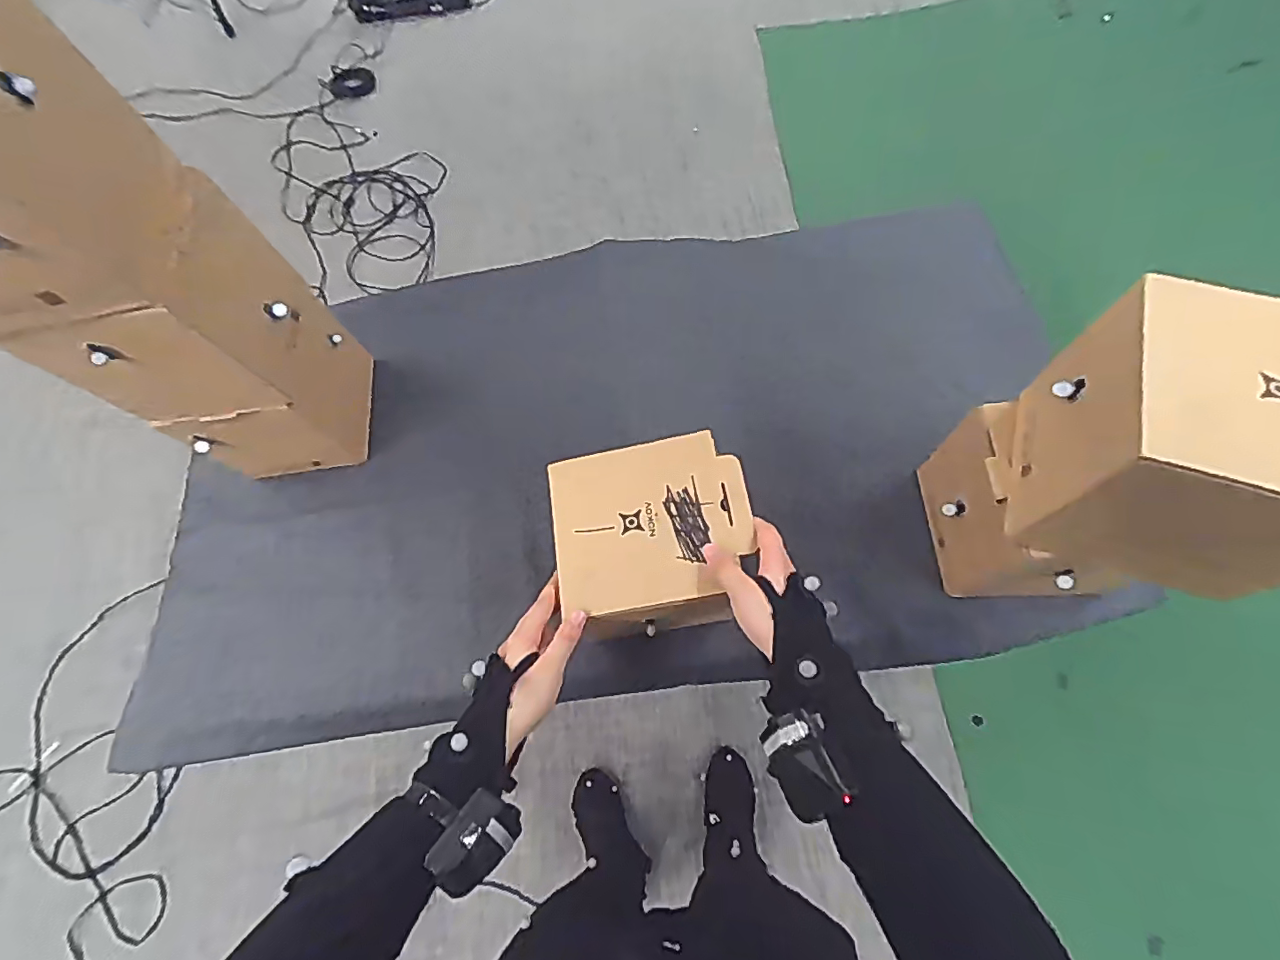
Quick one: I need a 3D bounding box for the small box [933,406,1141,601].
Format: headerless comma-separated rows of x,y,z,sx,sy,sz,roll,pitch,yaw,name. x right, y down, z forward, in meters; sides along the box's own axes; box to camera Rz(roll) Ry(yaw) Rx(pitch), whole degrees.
0.440,0.032,0.581,0.179,0.176,0.168,-2,66,5,small box

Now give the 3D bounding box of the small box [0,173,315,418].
-0.480,-0.176,0.559,0.179,0.176,0.168,-7,70,1,small box

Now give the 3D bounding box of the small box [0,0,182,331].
-0.498,-0.232,0.408,0.168,0.176,0.179,-11,68,-1,small box

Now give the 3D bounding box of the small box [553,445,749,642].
0.011,0.079,0.600,0.179,0.176,0.168,-9,67,2,small box

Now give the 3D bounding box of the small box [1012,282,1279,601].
0.432,-0.019,0.425,0.179,0.176,0.168,18,69,11,small box
